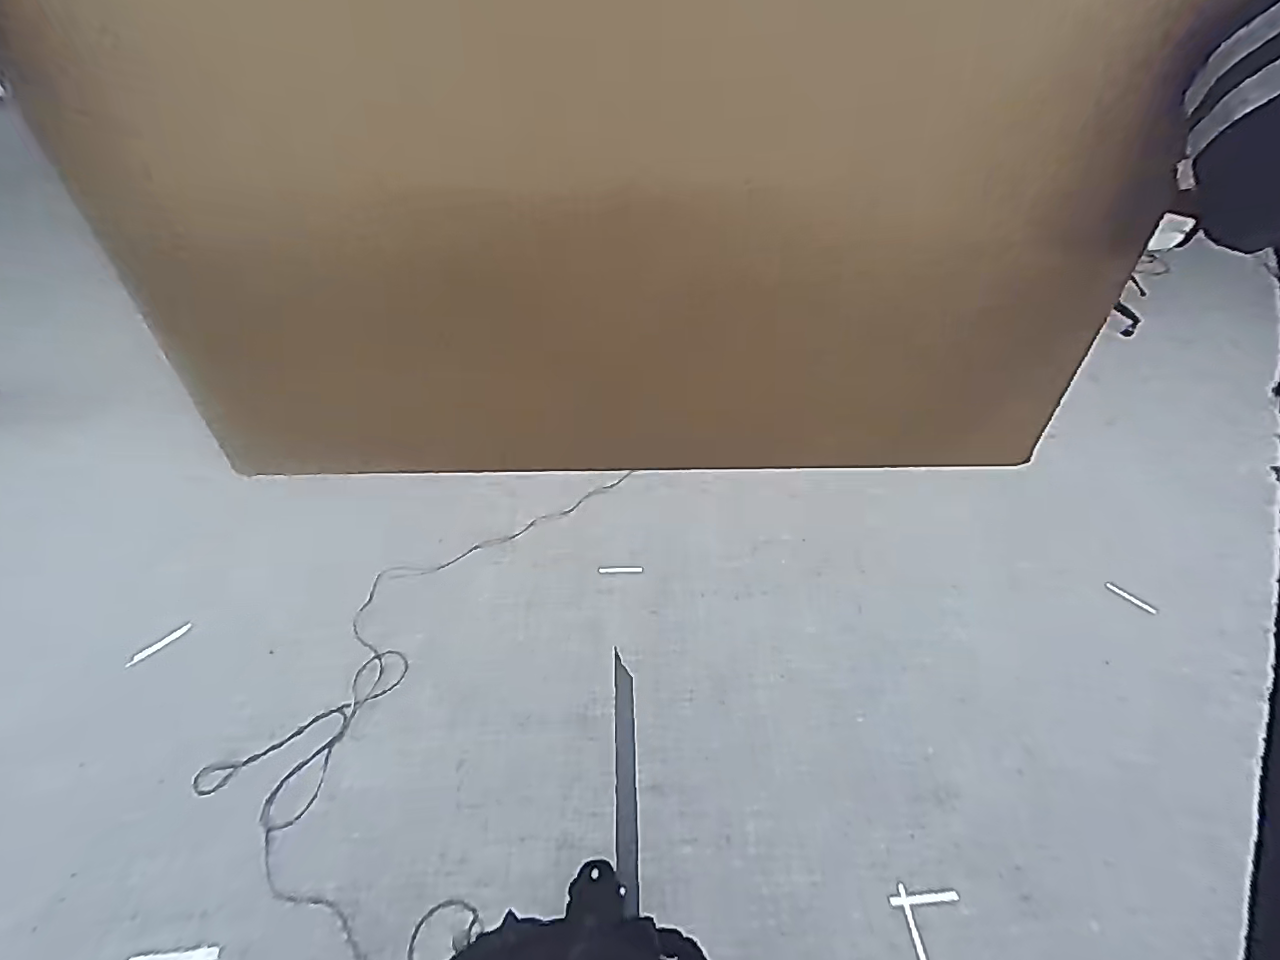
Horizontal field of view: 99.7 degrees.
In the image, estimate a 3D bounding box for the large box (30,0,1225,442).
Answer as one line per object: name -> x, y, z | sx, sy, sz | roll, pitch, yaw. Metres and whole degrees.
large box -> -0.004, -0.229, 0.307 | 0.408, 0.320, 0.320 | 0, 39, -1
